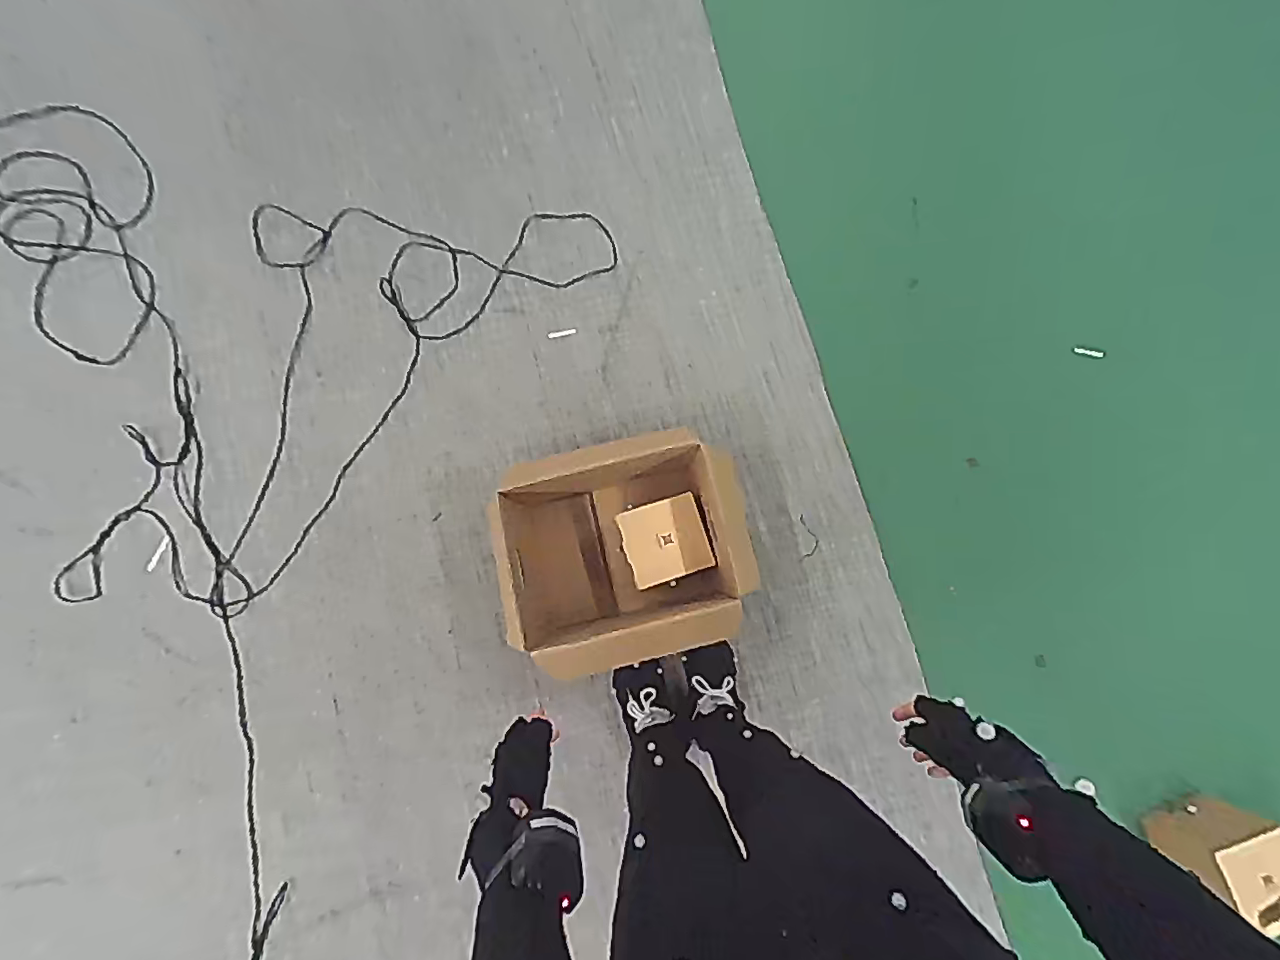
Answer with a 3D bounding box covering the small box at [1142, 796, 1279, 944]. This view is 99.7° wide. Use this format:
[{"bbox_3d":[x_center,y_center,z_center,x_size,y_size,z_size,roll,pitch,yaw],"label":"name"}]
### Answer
[{"bbox_3d":[1.244,0.815,1.148,0.168,0.176,0.179,-17,81,-3],"label":"small box"}]
